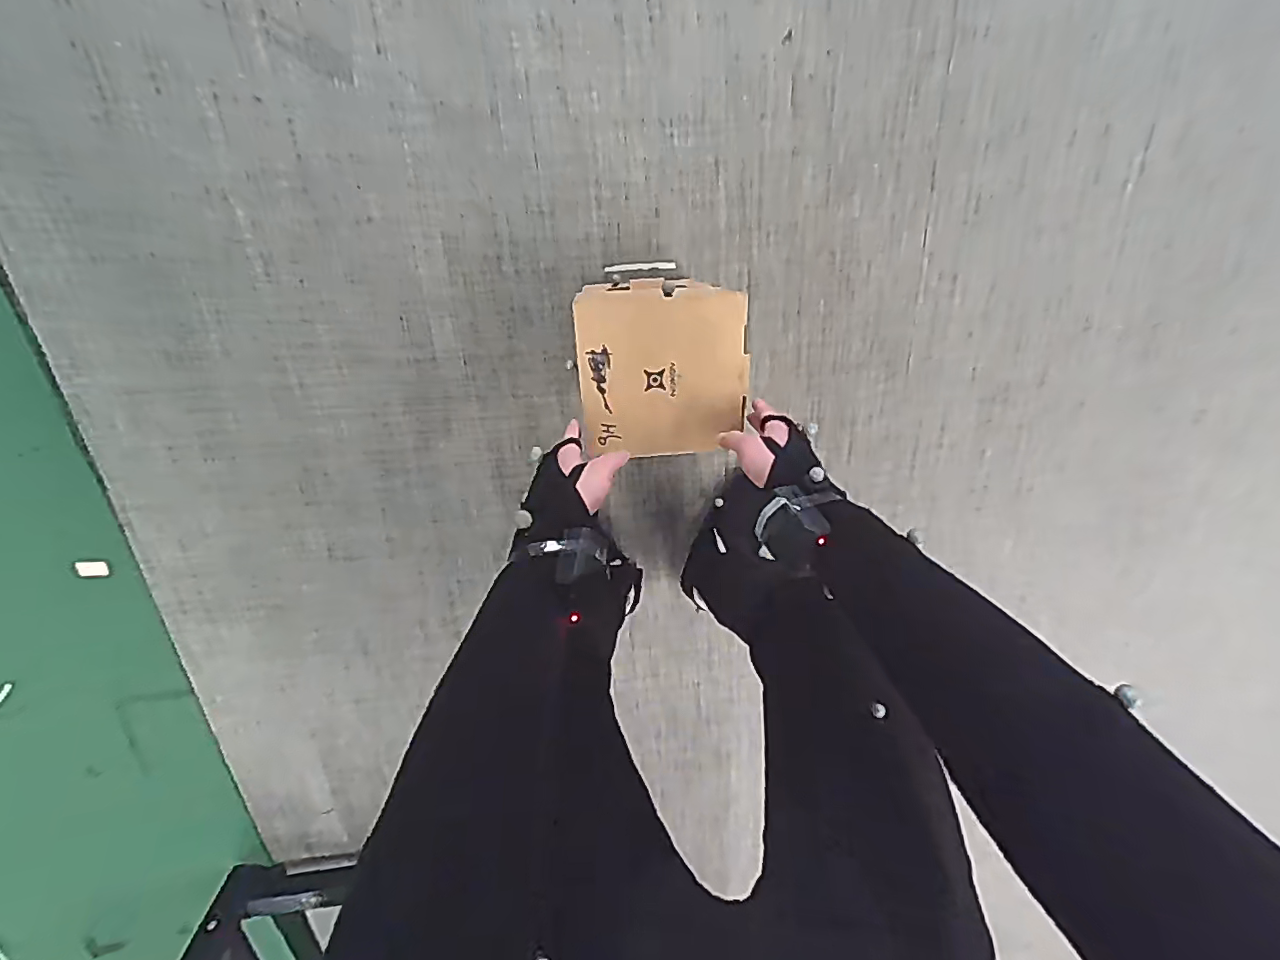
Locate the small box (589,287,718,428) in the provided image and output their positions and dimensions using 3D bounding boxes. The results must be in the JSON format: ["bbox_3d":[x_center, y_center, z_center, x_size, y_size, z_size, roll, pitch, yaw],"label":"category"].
[{"bbox_3d":[0.011,-0.182,0.772,0.168,0.176,0.179,-2,112,-3],"label":"small box"}]
